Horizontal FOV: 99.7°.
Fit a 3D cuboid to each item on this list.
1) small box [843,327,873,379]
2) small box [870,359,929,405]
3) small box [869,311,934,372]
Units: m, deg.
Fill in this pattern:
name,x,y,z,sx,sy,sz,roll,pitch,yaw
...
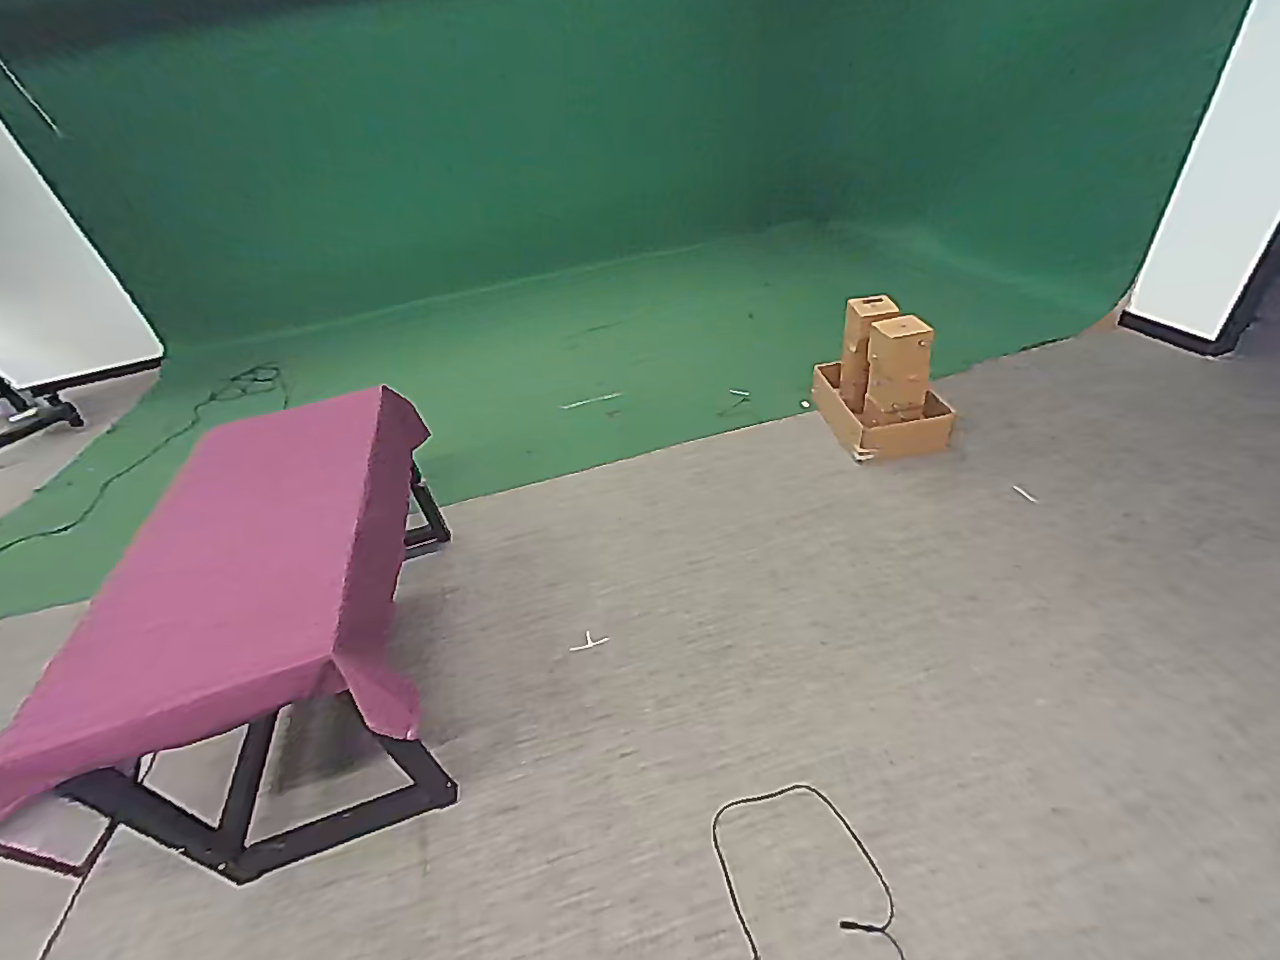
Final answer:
name,x,y,z,sx,sy,sz,roll,pitch,yaw
small box,1.041,-0.587,2.494,0.168,0.176,0.179,-5,41,10
small box,1.090,-0.430,2.283,0.168,0.176,0.179,-12,37,1
small box,1.049,-0.559,2.187,0.179,0.176,0.168,-12,37,1
